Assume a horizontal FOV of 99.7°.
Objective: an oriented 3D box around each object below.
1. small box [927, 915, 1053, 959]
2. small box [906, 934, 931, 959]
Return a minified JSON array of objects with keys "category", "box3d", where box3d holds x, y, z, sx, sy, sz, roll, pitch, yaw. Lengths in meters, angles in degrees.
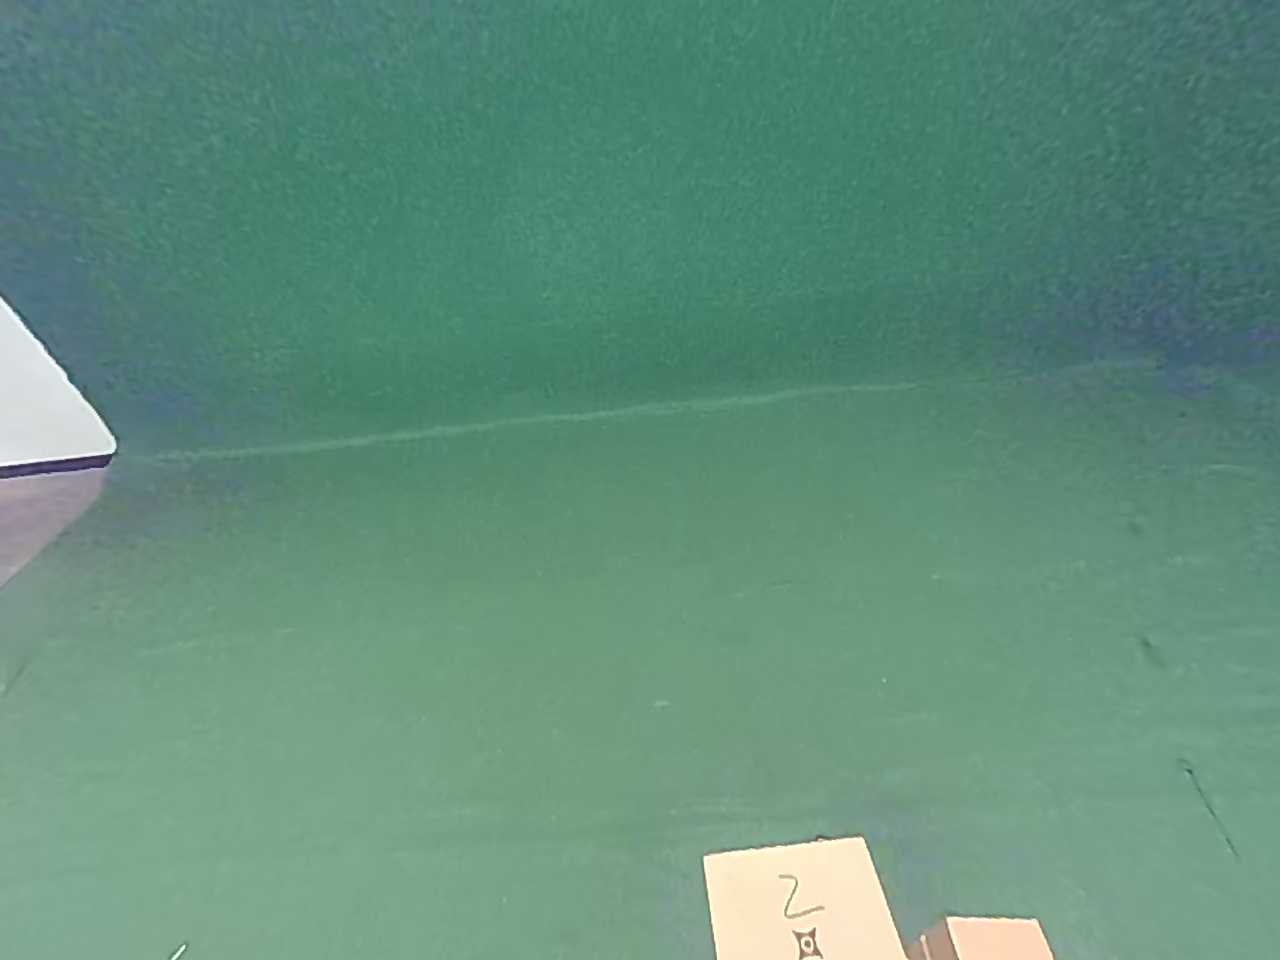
[{"category":"small box","box3d":[0.656,0.933,0.993,0.168,0.176,0.179,-2,40,5]},{"category":"small box","box3d":[0.666,1.057,1.101,0.168,0.176,0.179,-3,40,4]}]
